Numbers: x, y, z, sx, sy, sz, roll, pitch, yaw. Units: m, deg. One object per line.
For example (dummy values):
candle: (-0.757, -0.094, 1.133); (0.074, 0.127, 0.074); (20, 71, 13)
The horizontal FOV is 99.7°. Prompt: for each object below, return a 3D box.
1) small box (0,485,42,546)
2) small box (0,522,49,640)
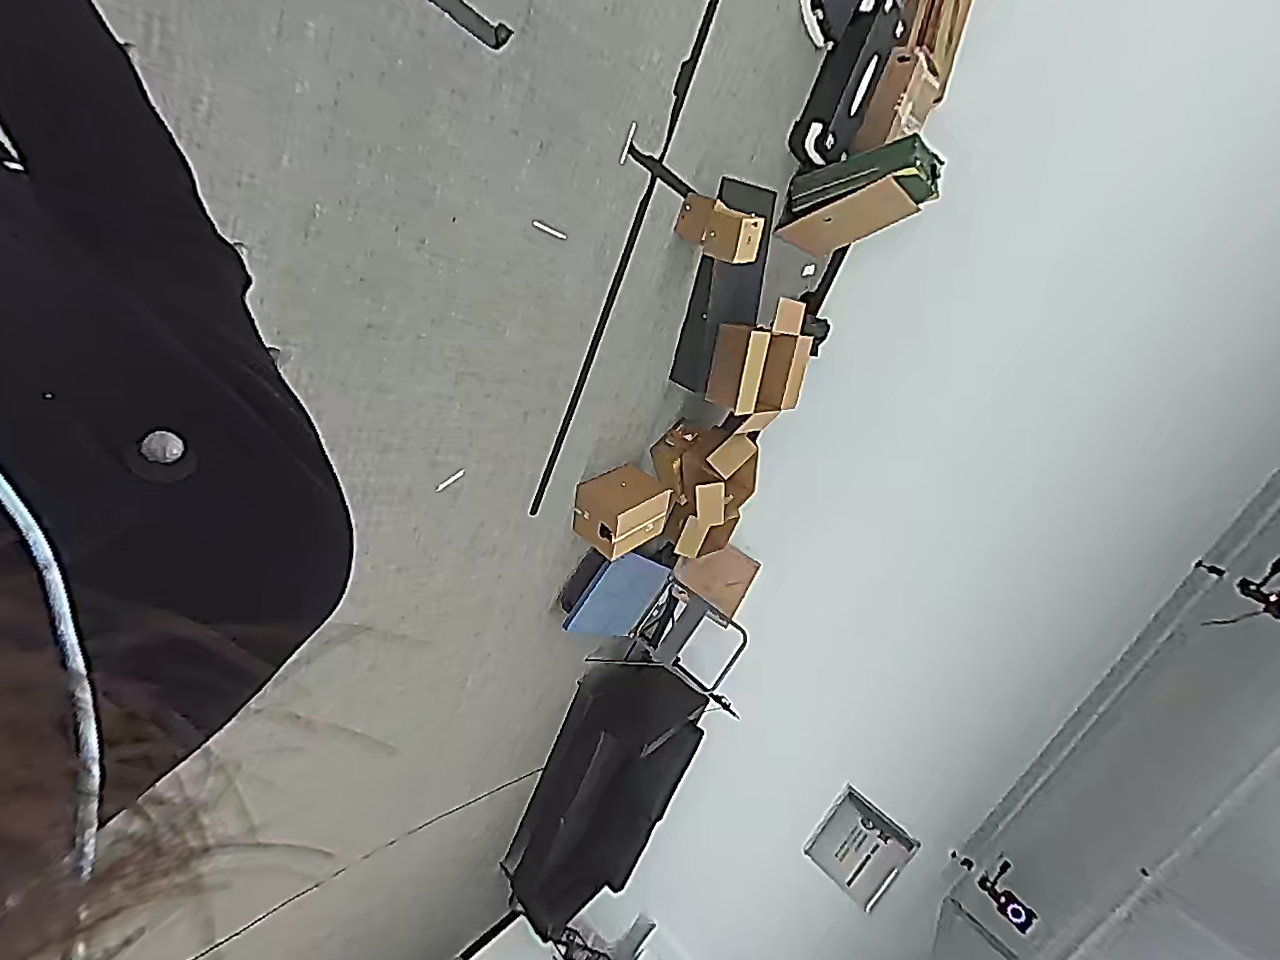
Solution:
small box: (-1.419, 0.123, 1.152); (0.179, 0.176, 0.168); (-7, 123, -54)
small box: (-1.304, 0.204, 1.067); (0.168, 0.176, 0.179); (-6, 122, -54)
